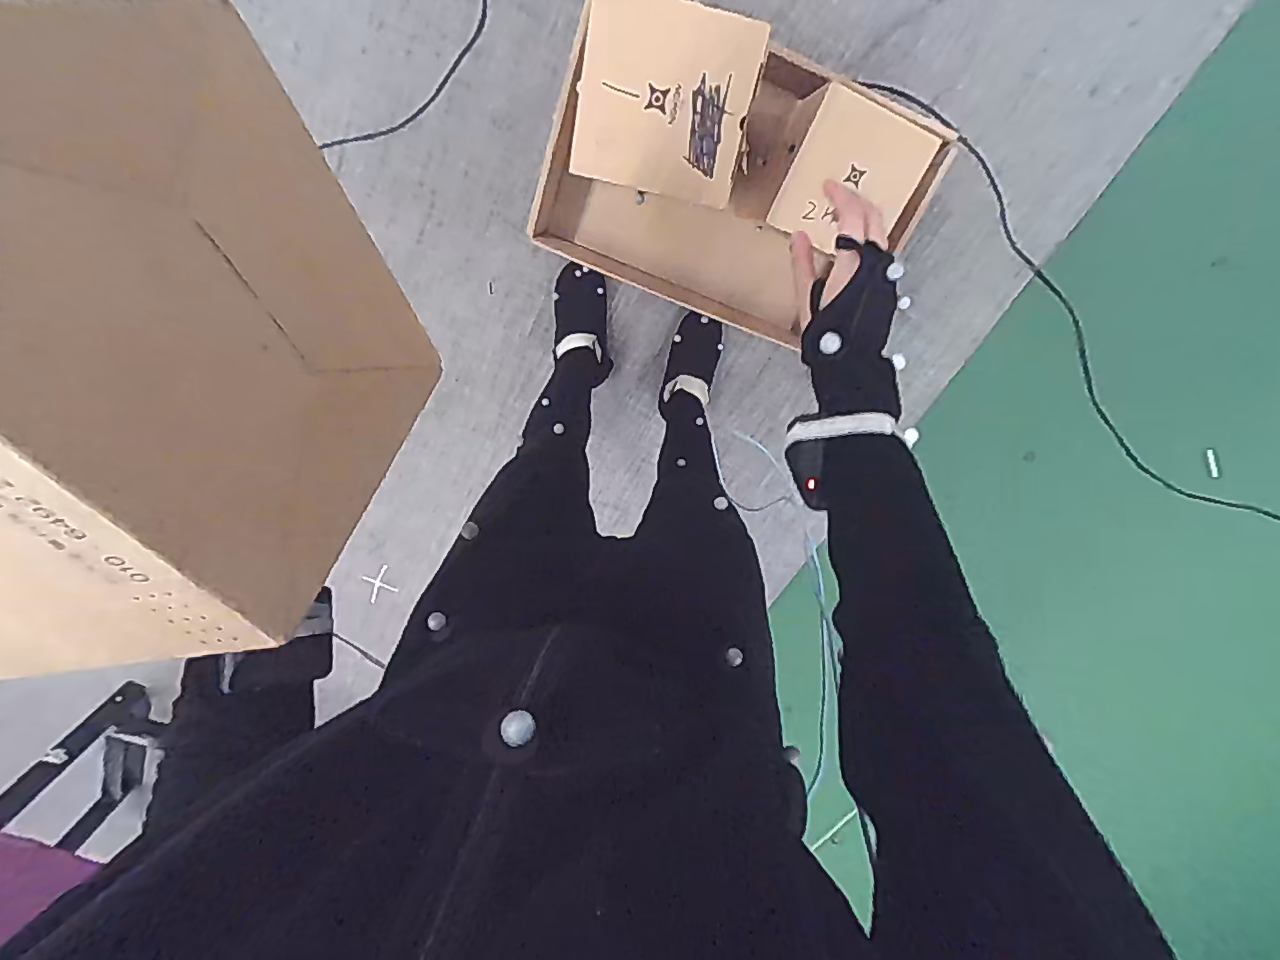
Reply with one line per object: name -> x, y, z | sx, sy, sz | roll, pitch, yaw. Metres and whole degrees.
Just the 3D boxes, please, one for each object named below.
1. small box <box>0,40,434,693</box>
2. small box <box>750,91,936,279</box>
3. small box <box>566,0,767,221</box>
small box -> -0.215, -0.040, 0.211 | 0.176, 0.179, 0.168 | -9, 132, 13
small box -> 0.276, -0.420, 0.788 | 0.168, 0.176, 0.179 | 22, 116, -9
small box -> 0.023, -0.410, 0.619 | 0.179, 0.176, 0.168 | 11, 118, -5
